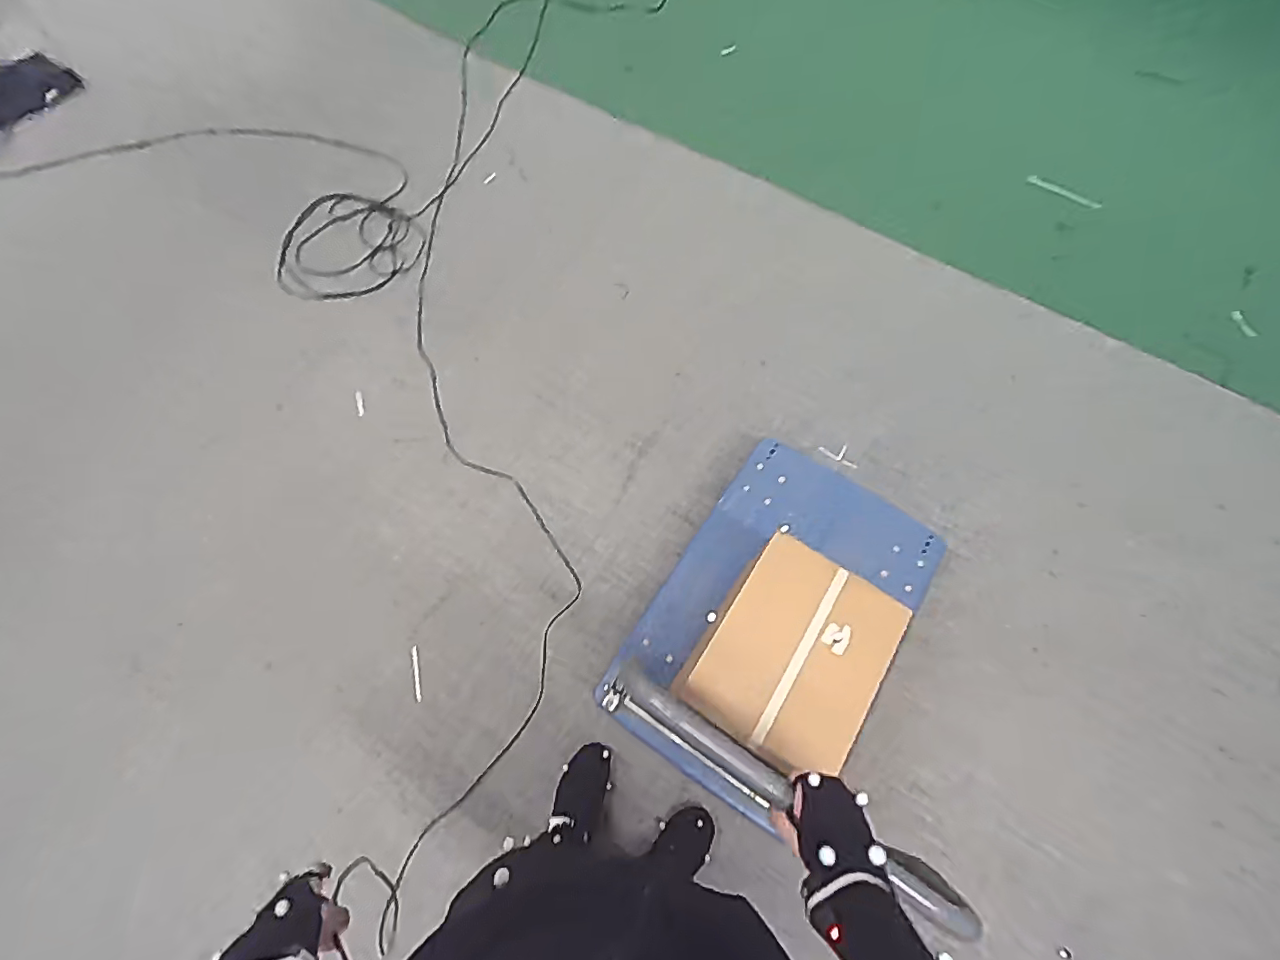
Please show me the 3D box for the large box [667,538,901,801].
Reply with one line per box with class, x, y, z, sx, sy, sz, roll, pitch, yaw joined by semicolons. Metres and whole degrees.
large box;0.296;0.410;1.195;0.320;0.320;0.408;32;69;11
